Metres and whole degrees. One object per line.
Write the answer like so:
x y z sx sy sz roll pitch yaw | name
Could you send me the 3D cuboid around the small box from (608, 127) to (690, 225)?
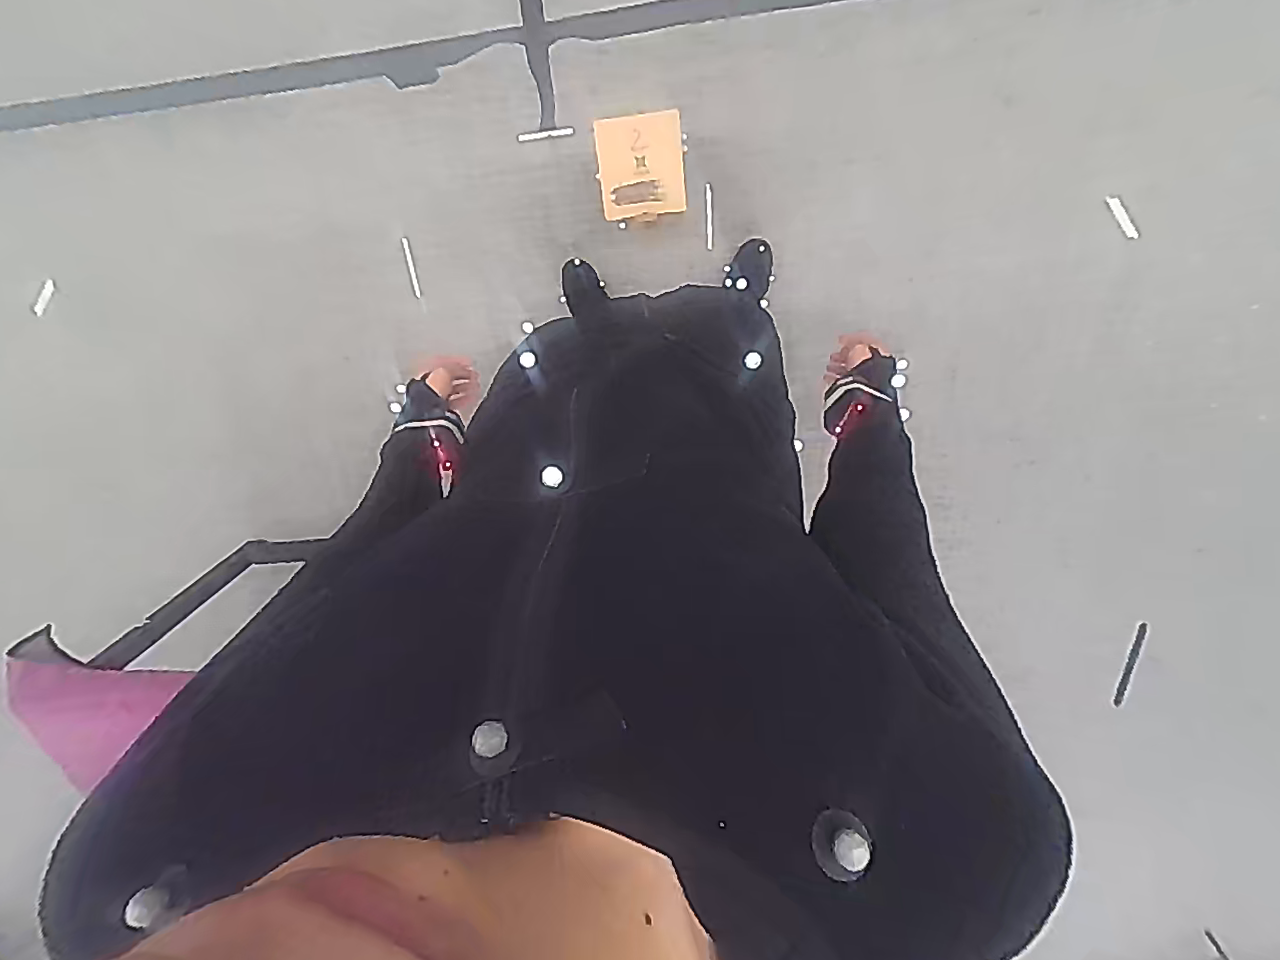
0.024 -0.705 1.272 0.168 0.176 0.179 -7 116 6 | small box
